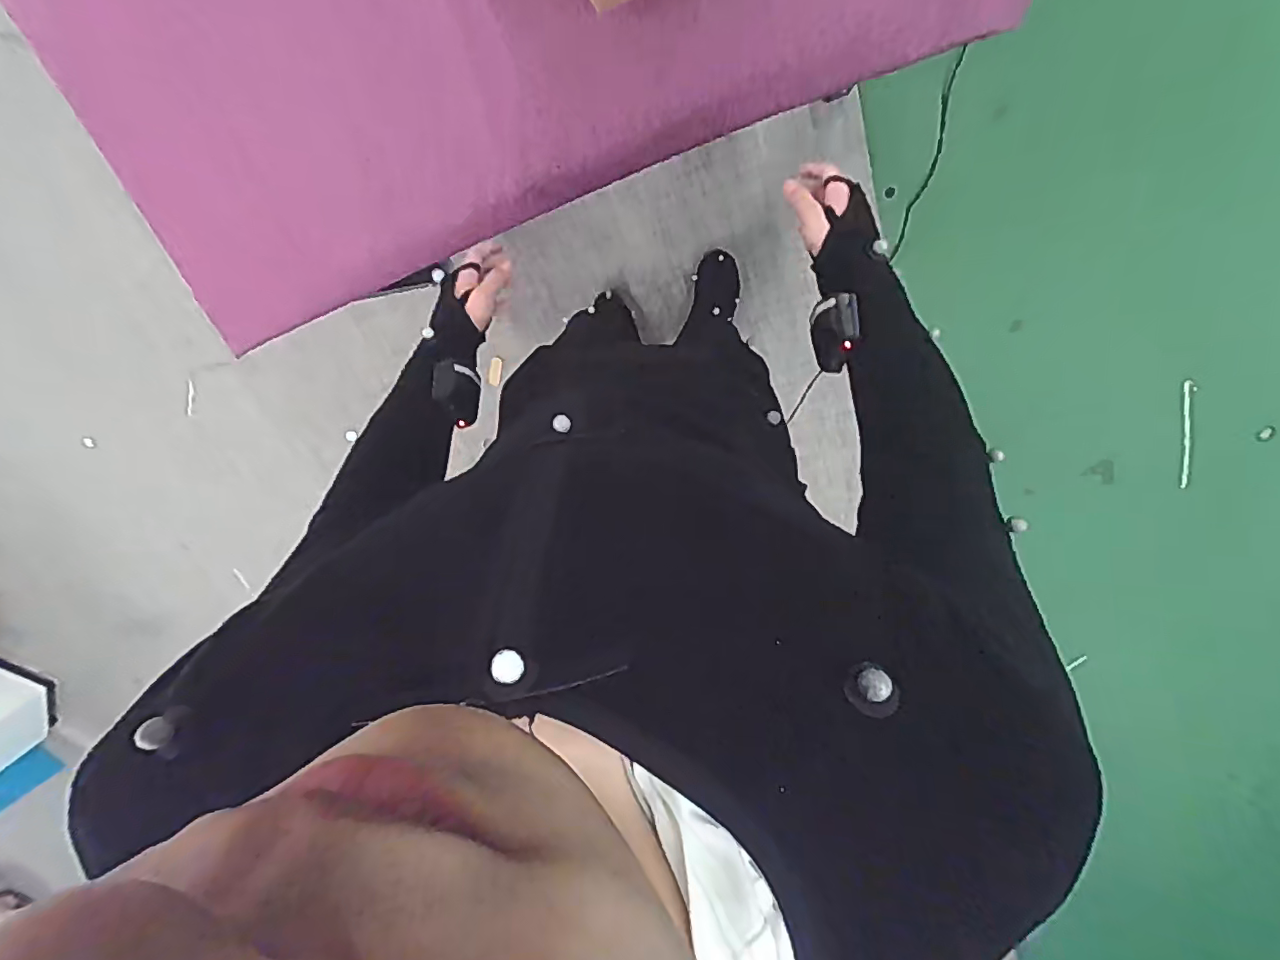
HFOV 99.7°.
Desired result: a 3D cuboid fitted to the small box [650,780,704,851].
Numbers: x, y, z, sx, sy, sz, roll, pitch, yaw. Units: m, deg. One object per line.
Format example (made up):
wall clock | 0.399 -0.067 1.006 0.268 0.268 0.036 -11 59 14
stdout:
small box | 0.144 1.251 2.025 0.179 0.176 0.168 -6 114 11
